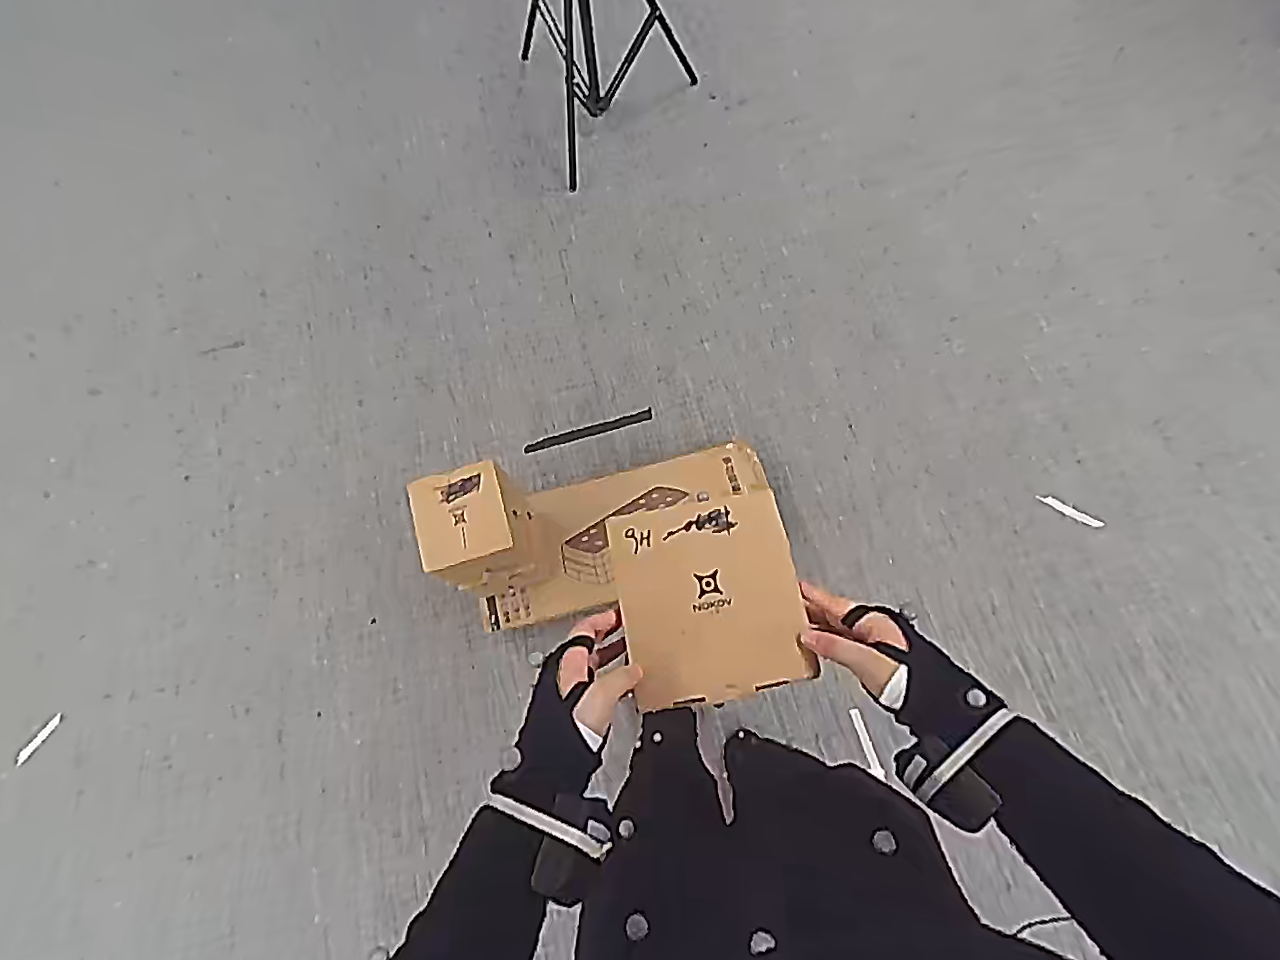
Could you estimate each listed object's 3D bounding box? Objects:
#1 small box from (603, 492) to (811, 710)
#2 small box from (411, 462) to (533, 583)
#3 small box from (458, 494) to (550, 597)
[{"bbox_3d":[0.059,0.128,0.570,0.168,0.176,0.179,-10,73,-3],"label":"small box"},{"bbox_3d":[-0.322,0.090,1.059,0.168,0.176,0.179,-17,73,-3],"label":"small box"},{"bbox_3d":[-0.310,0.152,1.211,0.168,0.176,0.179,-15,73,-2],"label":"small box"}]
